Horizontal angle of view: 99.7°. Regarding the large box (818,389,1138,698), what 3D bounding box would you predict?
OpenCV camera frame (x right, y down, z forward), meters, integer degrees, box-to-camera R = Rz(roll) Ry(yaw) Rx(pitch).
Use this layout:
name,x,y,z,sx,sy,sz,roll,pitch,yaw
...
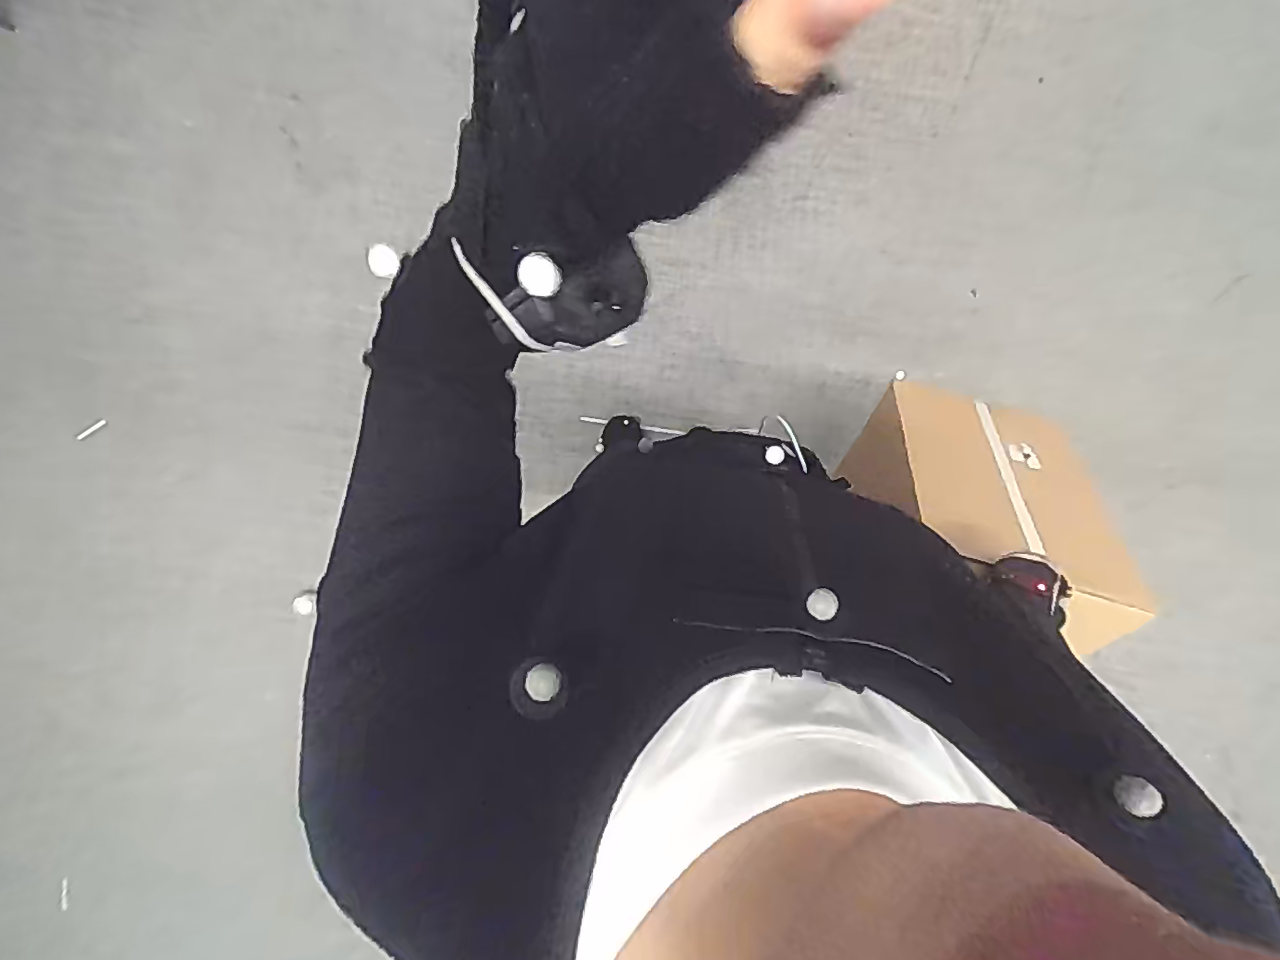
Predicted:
name,x,y,z,sx,sy,sz,roll,pitch,yaw
large box,0.530,0.106,0.964,0.320,0.408,0.320,17,134,1
